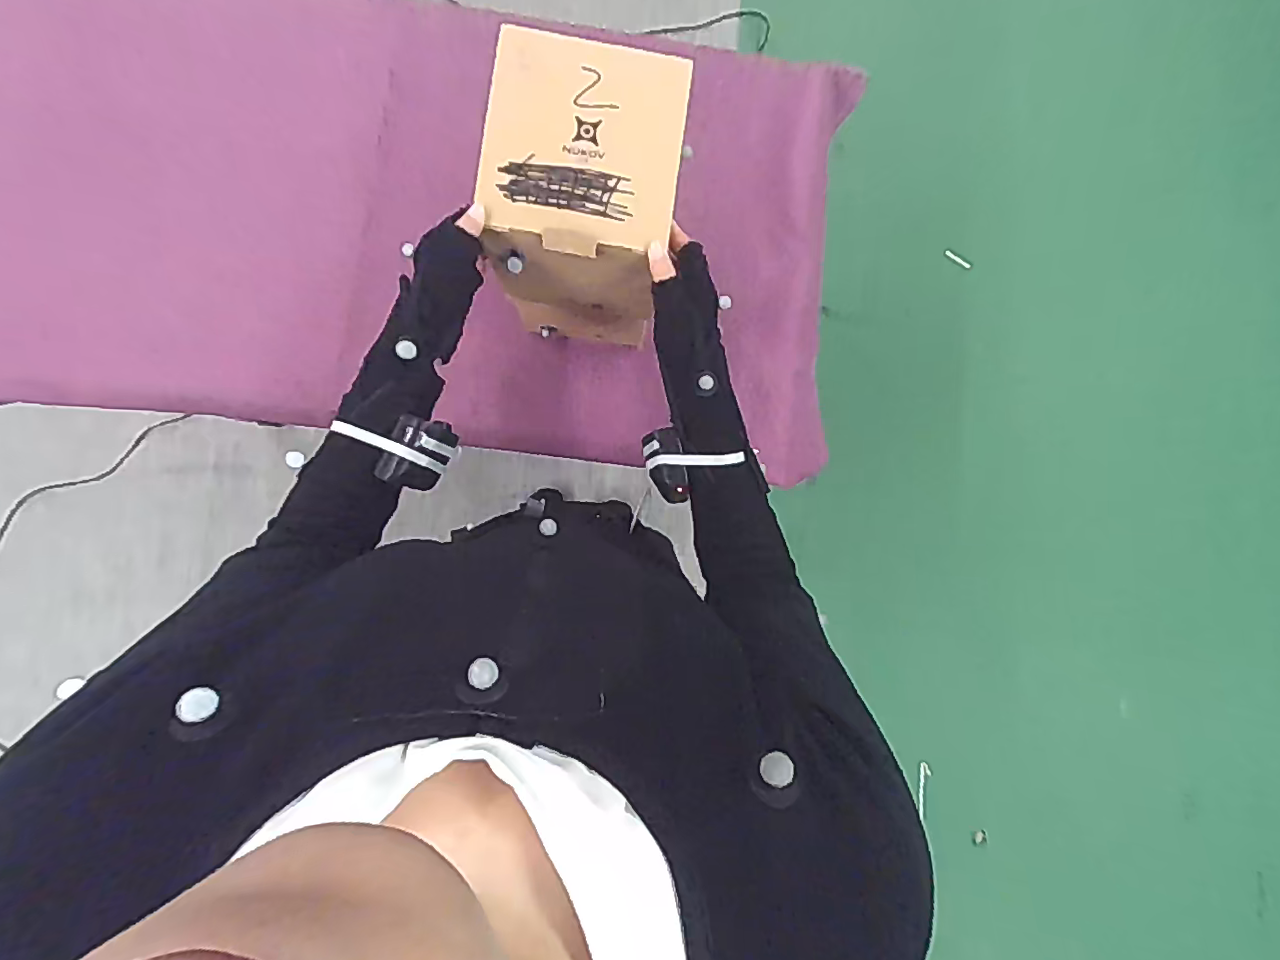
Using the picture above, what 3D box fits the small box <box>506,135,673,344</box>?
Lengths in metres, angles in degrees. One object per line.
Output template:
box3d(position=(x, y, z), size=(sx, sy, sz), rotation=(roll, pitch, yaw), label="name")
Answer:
box3d(position=(-0.063, -0.288, 0.691), size=(0.168, 0.176, 0.179), rotation=(10, 88, -6), label="small box")
